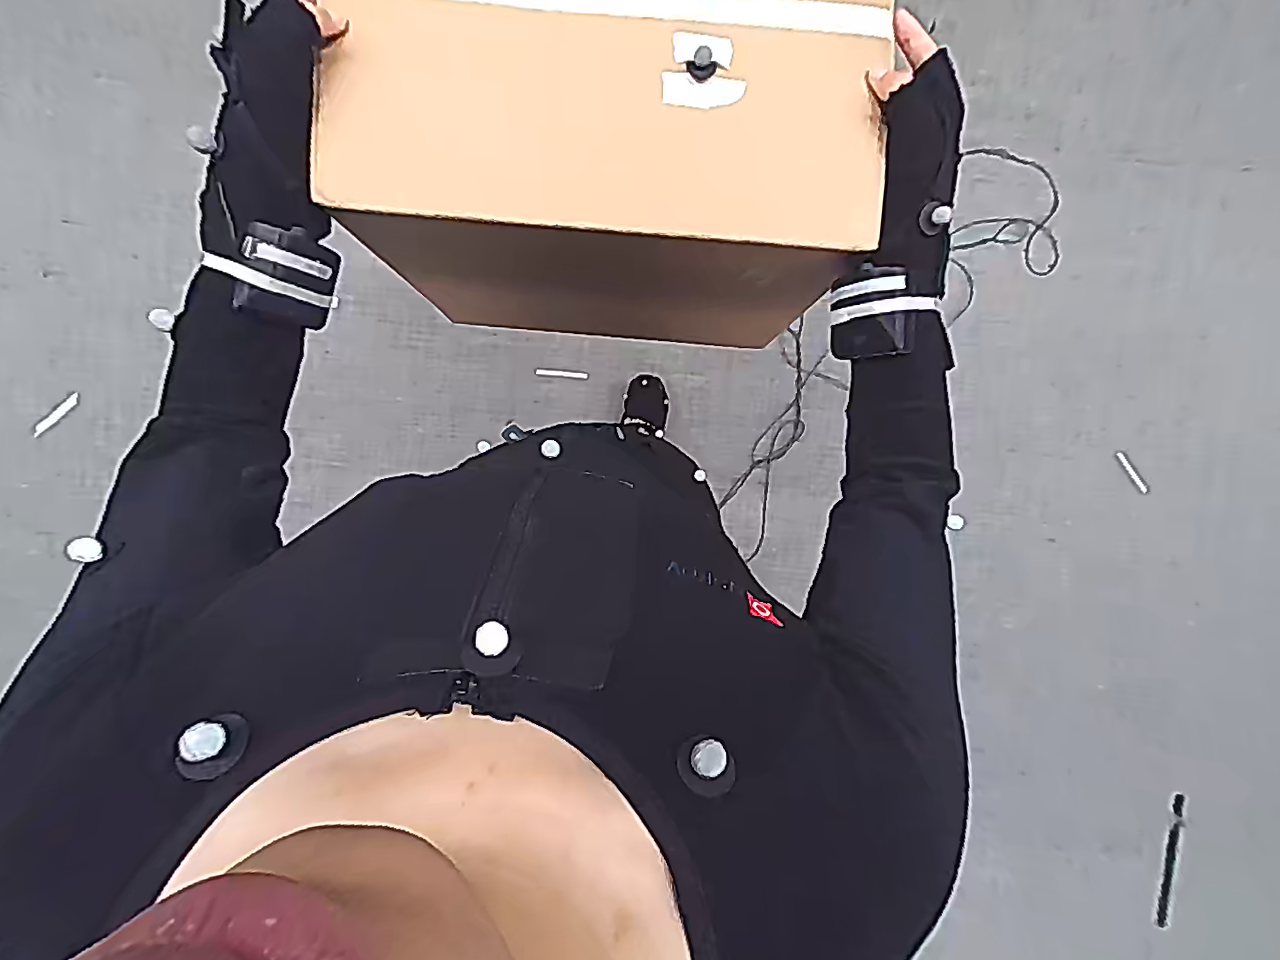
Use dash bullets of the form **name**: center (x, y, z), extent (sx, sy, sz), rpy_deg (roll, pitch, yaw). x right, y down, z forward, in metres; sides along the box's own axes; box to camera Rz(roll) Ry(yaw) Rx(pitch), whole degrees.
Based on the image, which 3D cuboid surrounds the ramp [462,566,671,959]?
- **ramp**: center (-0.181, 0.738, 1.422), extent (0.509, 0.206, 0.991), rpy_deg (1, 92, 0)

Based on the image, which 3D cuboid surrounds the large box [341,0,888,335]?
- **large box**: center (-0.020, -0.348, 0.547), extent (0.408, 0.320, 0.320), rpy_deg (4, 91, -2)
